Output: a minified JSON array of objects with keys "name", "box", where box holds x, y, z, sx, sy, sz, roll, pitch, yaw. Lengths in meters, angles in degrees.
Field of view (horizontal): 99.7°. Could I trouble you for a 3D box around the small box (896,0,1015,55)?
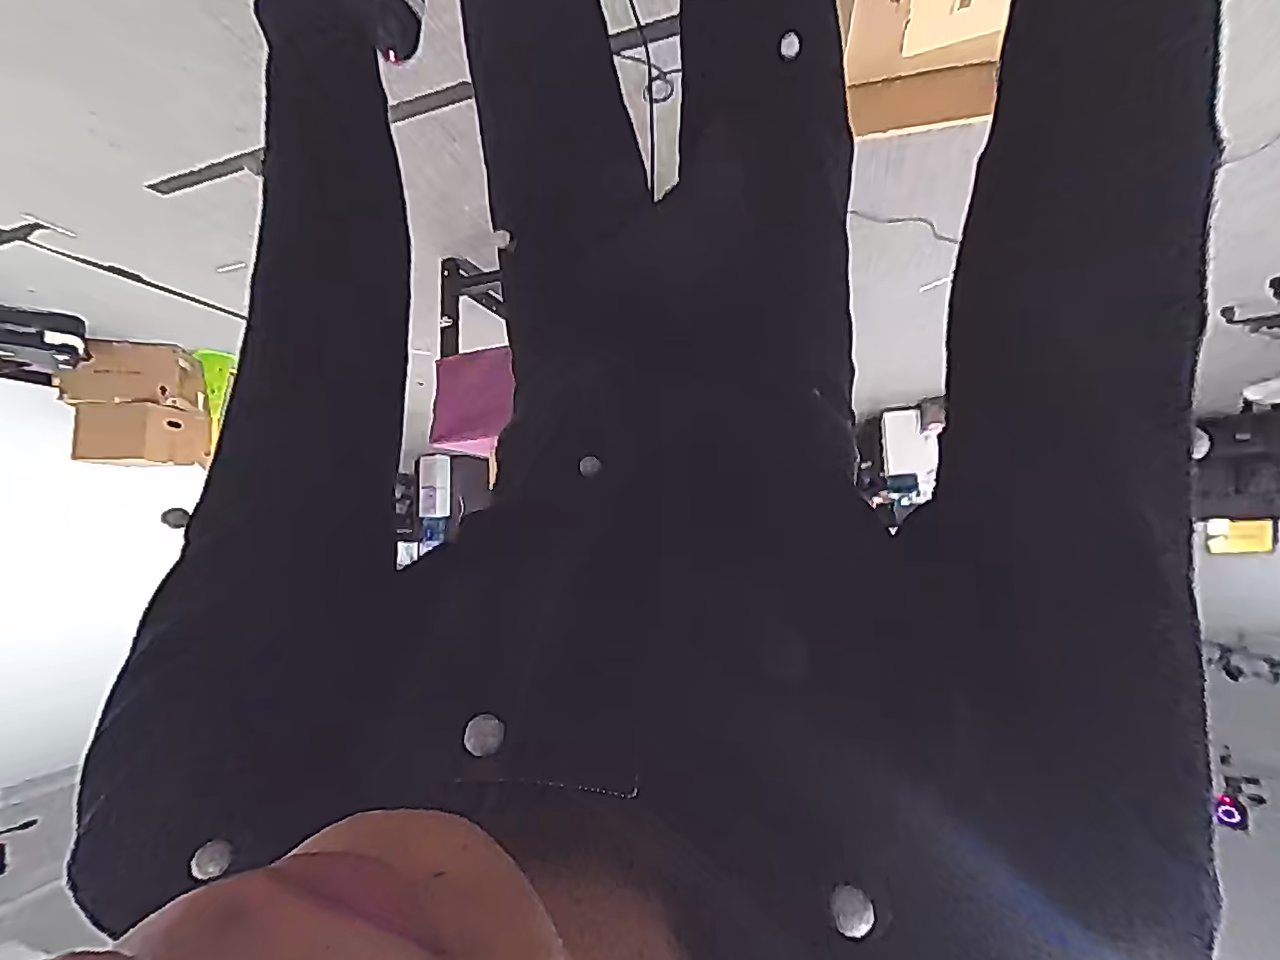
[{"name":"small box","box":[0.540,-0.885,0.916,0.179,0.176,0.168,-3,176,17]}]
